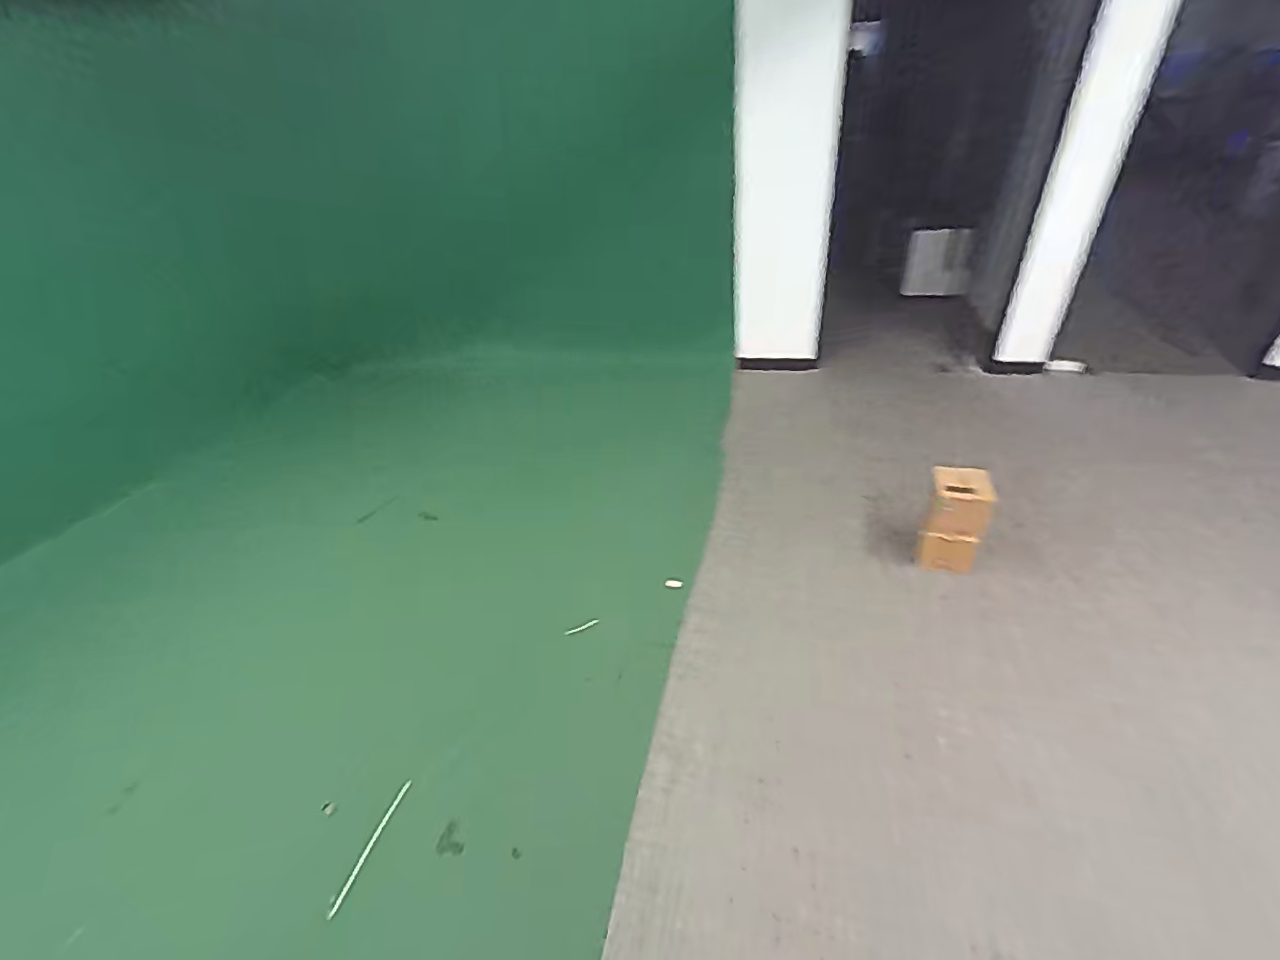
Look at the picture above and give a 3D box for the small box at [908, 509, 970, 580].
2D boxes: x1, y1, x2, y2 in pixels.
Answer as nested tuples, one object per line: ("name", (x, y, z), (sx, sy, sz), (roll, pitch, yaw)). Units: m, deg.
("small box", (1.092, 0.237, 1.989), (0.168, 0.176, 0.179), (8, 39, 19))
